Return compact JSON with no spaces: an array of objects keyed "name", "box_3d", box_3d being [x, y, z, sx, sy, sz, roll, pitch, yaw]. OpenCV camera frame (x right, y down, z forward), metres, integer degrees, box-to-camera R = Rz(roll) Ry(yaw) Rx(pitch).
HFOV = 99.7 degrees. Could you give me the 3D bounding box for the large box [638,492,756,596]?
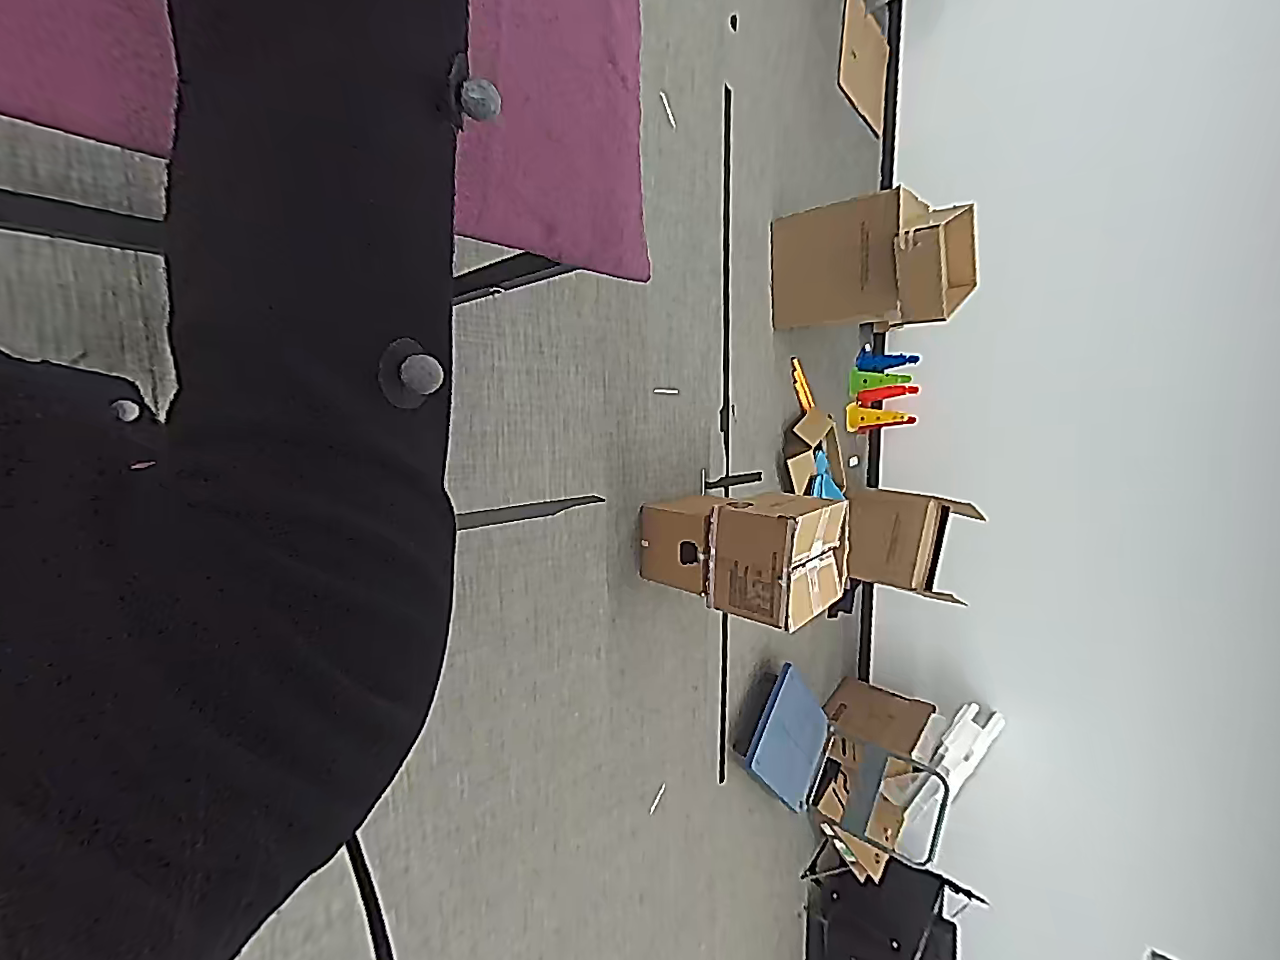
[{"name":"large box","box_3d":[0.239,0.242,2.234,0.408,0.320,0.320,-9,102,-47]}]
